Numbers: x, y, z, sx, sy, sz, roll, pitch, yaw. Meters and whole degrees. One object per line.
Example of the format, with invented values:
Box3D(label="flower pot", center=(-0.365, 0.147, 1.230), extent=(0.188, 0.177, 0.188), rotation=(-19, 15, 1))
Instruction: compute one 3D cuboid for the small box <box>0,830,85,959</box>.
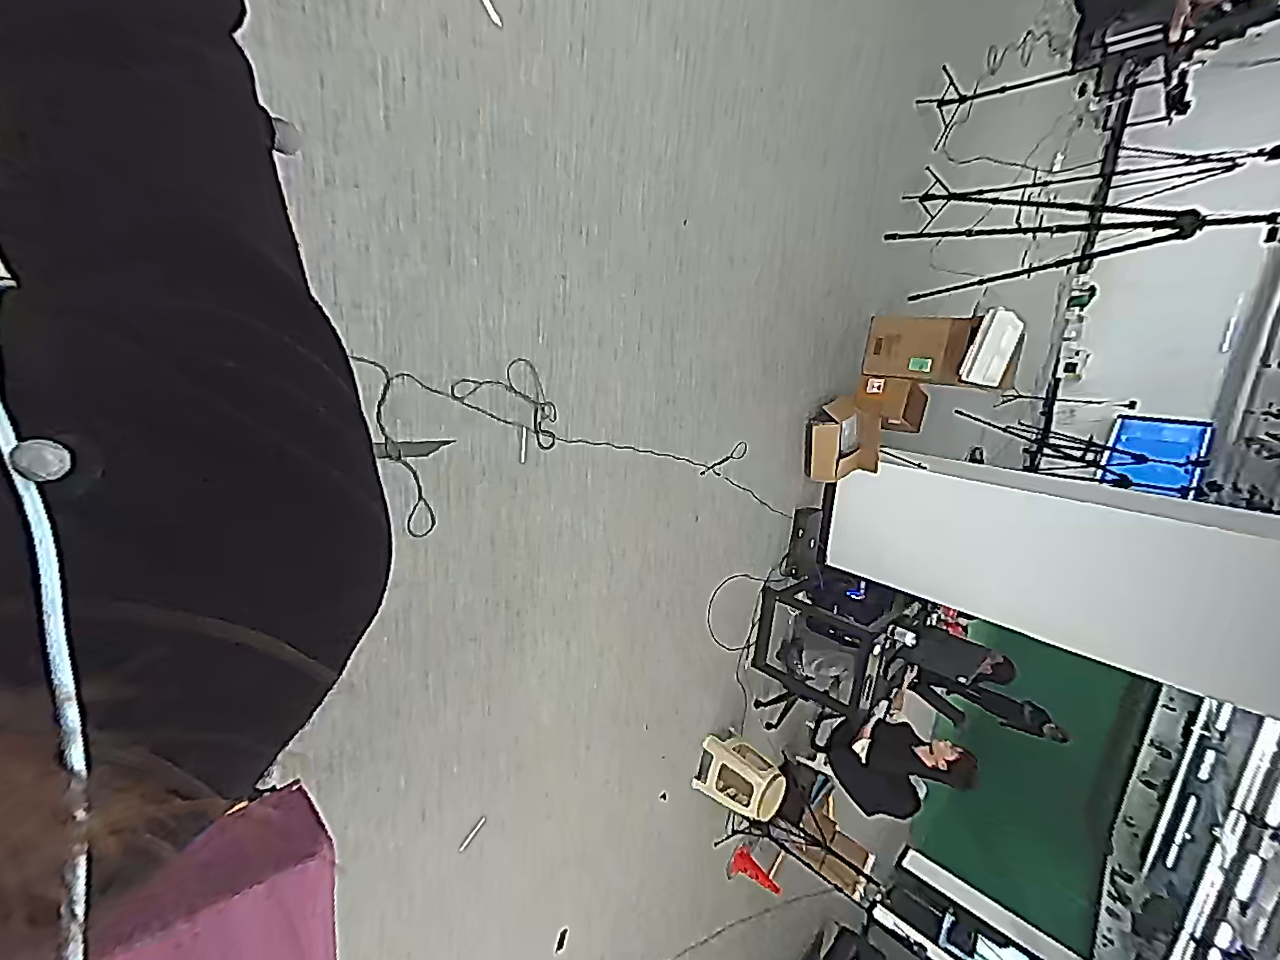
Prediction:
Box3D(label="small box", center=(-1.266, 0.870, 1.098), extent=(0.179, 0.176, 0.168), rotation=(-10, 109, -44))
